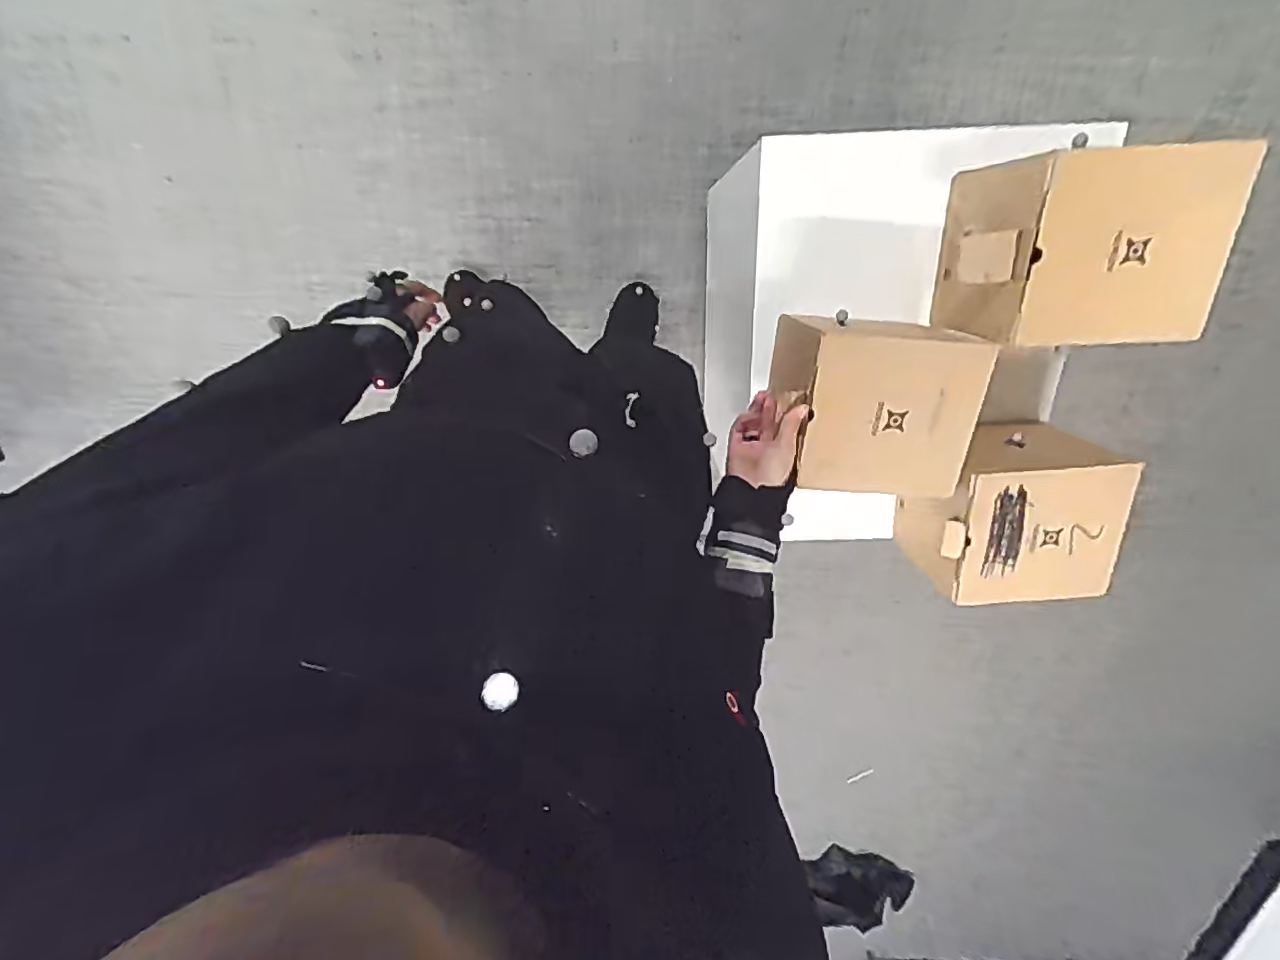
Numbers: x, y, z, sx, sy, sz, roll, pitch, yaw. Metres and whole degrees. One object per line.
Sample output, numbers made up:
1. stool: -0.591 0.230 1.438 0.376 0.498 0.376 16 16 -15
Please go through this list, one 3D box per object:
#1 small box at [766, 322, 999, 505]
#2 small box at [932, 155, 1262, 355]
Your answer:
1. small box: 0.254 -0.084 0.620 0.179 0.176 0.168 3 113 -2
2. small box: 0.441 -0.230 0.560 0.179 0.176 0.168 -2 113 3
